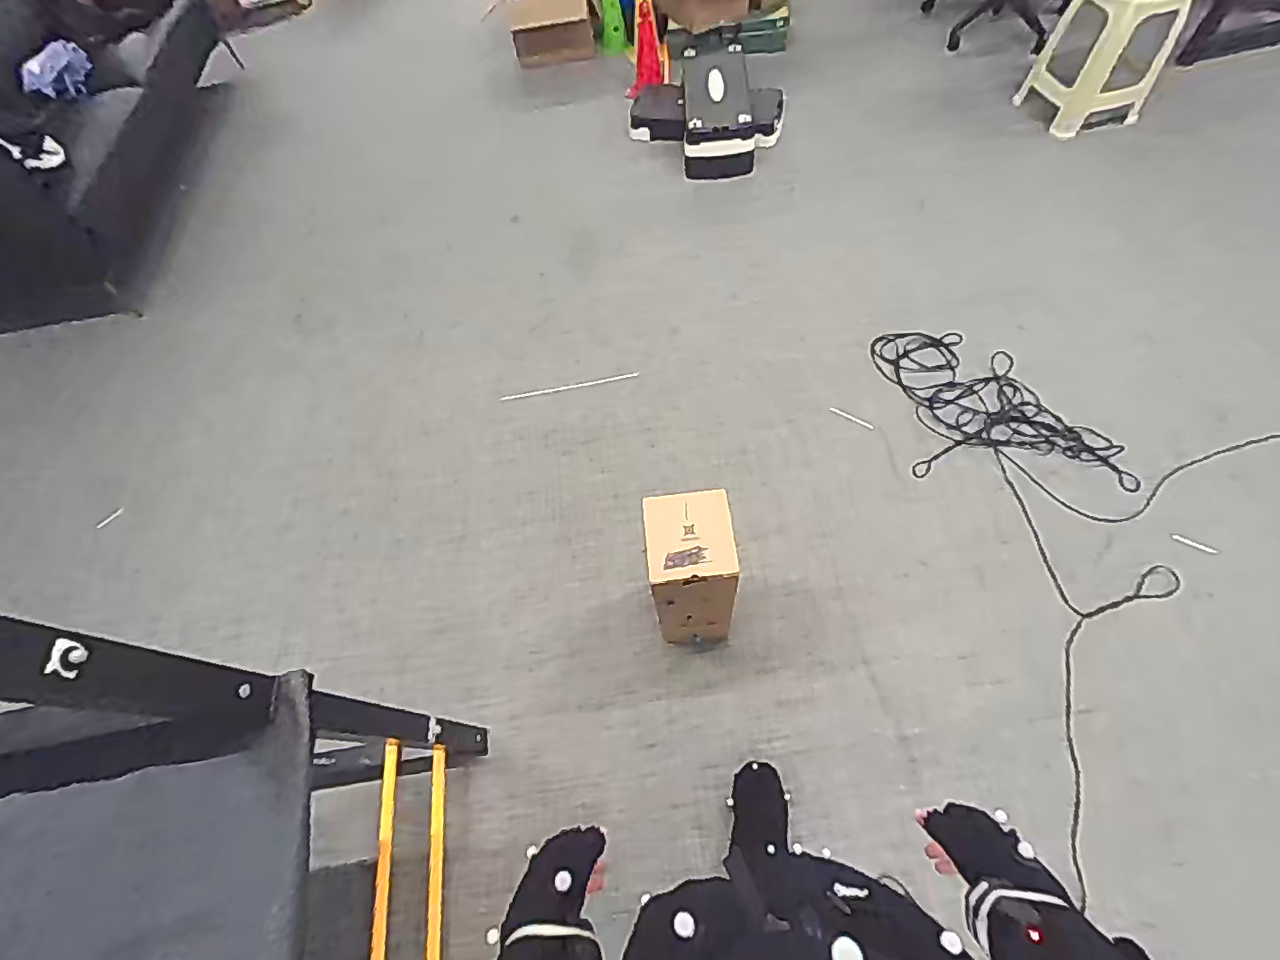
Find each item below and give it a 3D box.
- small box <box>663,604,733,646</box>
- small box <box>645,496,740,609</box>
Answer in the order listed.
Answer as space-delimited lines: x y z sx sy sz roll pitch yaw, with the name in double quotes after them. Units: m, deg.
0.142 0.311 1.367 0.168 0.176 0.179 -5 61 5 "small box"
0.104 0.153 1.084 0.168 0.176 0.179 -6 60 3 "small box"
